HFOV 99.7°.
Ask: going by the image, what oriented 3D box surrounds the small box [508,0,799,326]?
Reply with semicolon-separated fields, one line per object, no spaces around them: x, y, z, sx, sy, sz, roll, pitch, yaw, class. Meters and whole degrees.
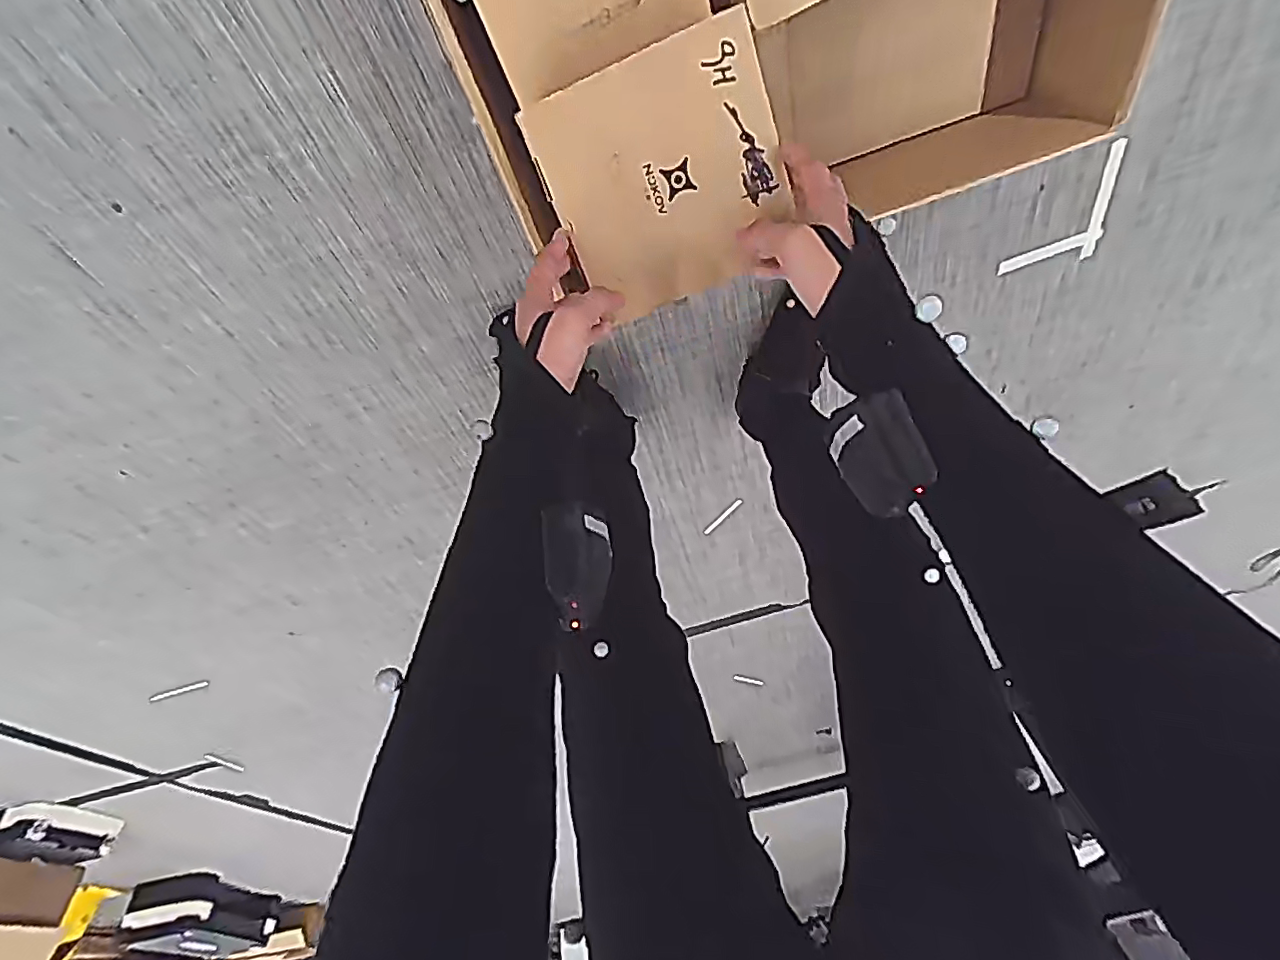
0.014;-0.253;0.471;0.179;0.176;0.168;-21;114;8;small box
